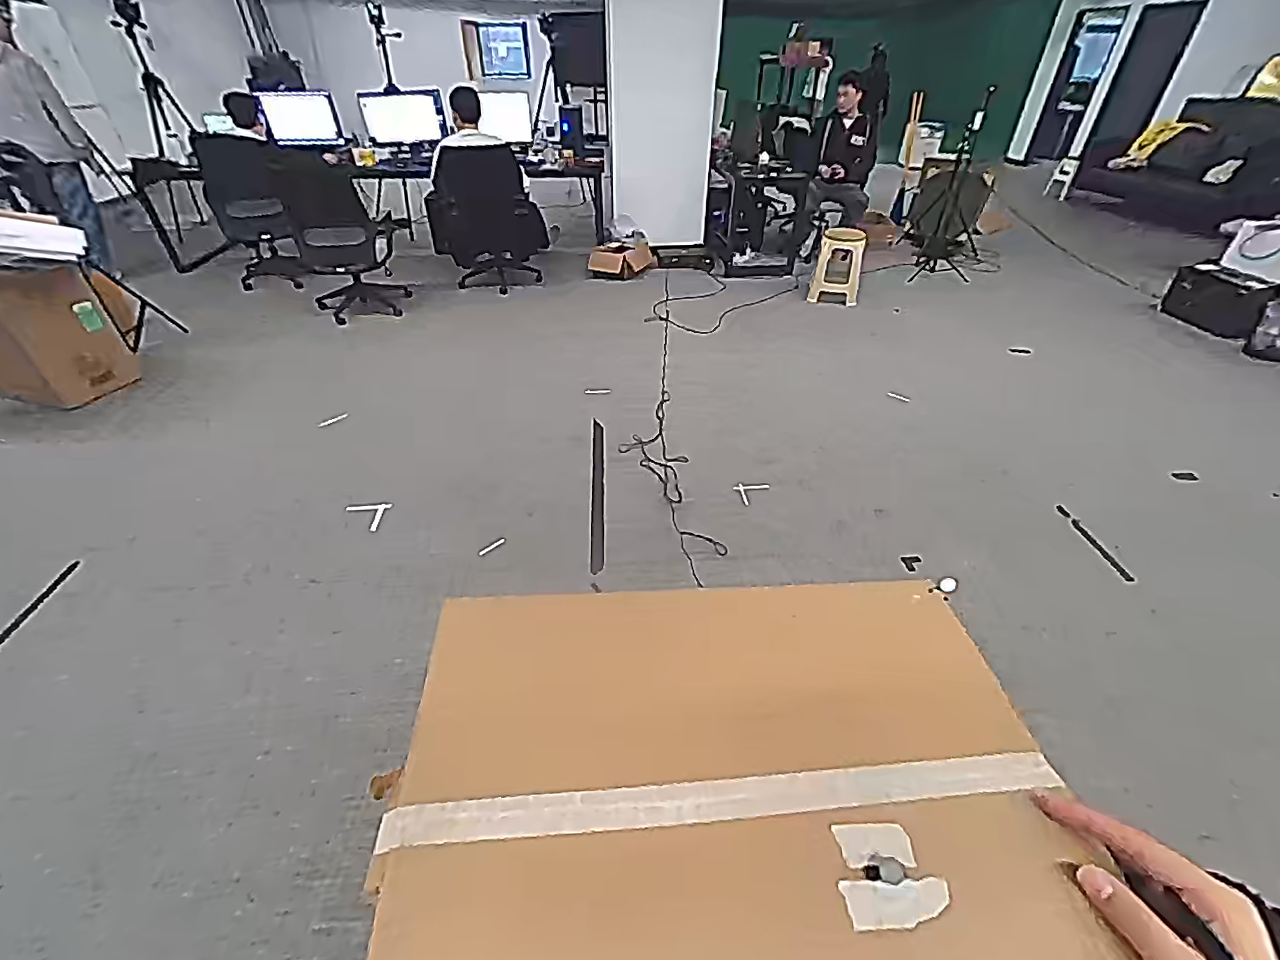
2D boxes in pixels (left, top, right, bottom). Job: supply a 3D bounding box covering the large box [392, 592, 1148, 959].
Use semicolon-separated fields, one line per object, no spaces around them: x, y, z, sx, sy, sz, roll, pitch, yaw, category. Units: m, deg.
0.054;0.314;0.430;0.408;0.320;0.320;-1;42;-7;large box
